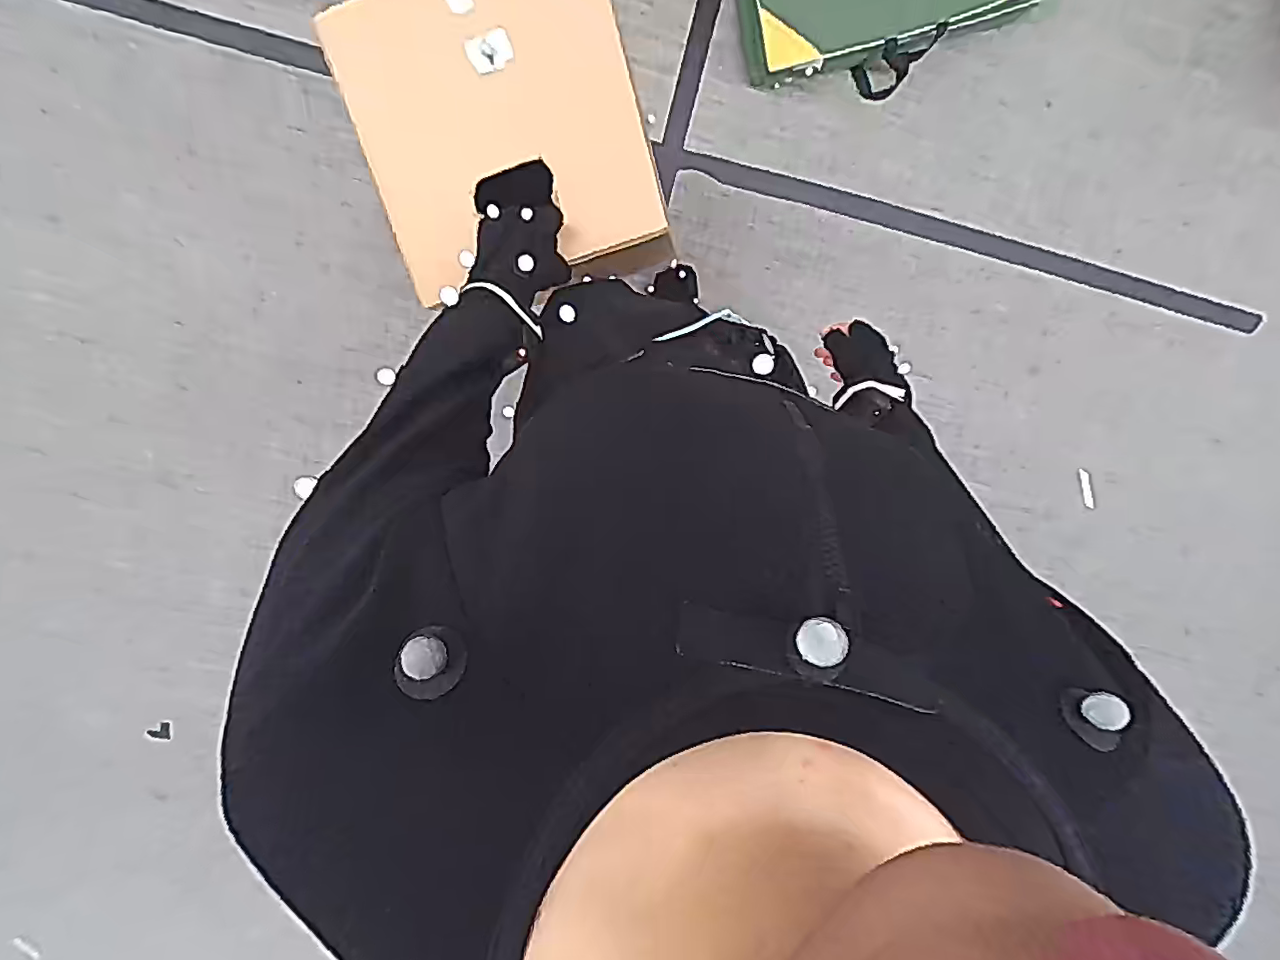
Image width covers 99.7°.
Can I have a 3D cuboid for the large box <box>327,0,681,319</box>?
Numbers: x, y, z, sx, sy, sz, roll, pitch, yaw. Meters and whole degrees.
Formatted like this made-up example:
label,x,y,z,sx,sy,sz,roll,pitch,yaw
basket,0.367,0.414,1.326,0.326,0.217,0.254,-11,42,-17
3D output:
label,x,y,z,sx,sy,sz,roll,pitch,yaw
large box,-0.138,-0.445,0.781,0.320,0.408,0.320,-15,108,11
